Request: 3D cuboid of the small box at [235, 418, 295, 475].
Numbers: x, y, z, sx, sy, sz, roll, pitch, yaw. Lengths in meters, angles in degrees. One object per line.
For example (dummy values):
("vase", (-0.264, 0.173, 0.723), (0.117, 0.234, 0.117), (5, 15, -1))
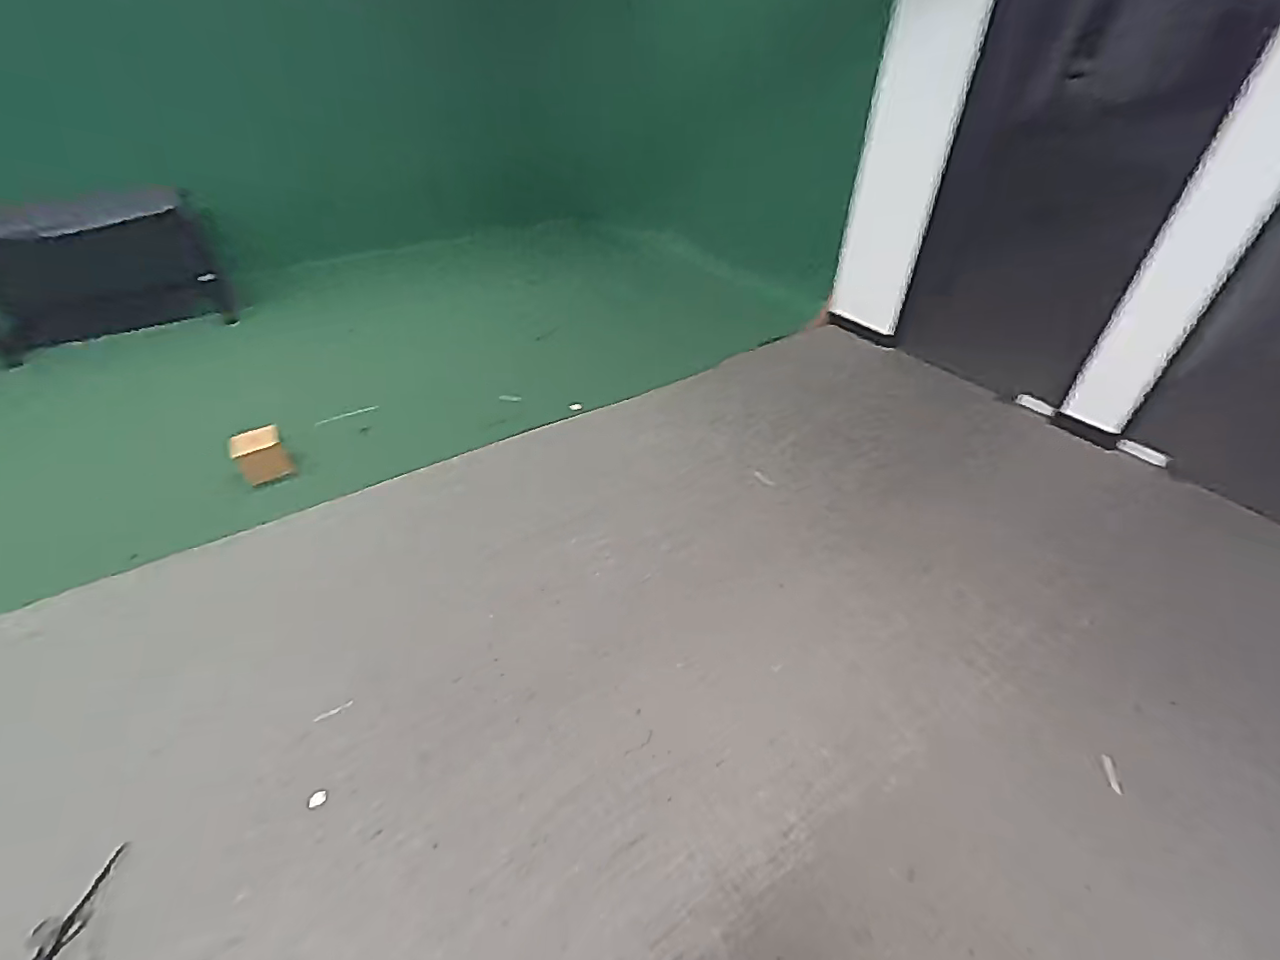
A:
("small box", (-1.658, -0.140, 2.397), (0.168, 0.176, 0.179), (-24, 45, -23))
